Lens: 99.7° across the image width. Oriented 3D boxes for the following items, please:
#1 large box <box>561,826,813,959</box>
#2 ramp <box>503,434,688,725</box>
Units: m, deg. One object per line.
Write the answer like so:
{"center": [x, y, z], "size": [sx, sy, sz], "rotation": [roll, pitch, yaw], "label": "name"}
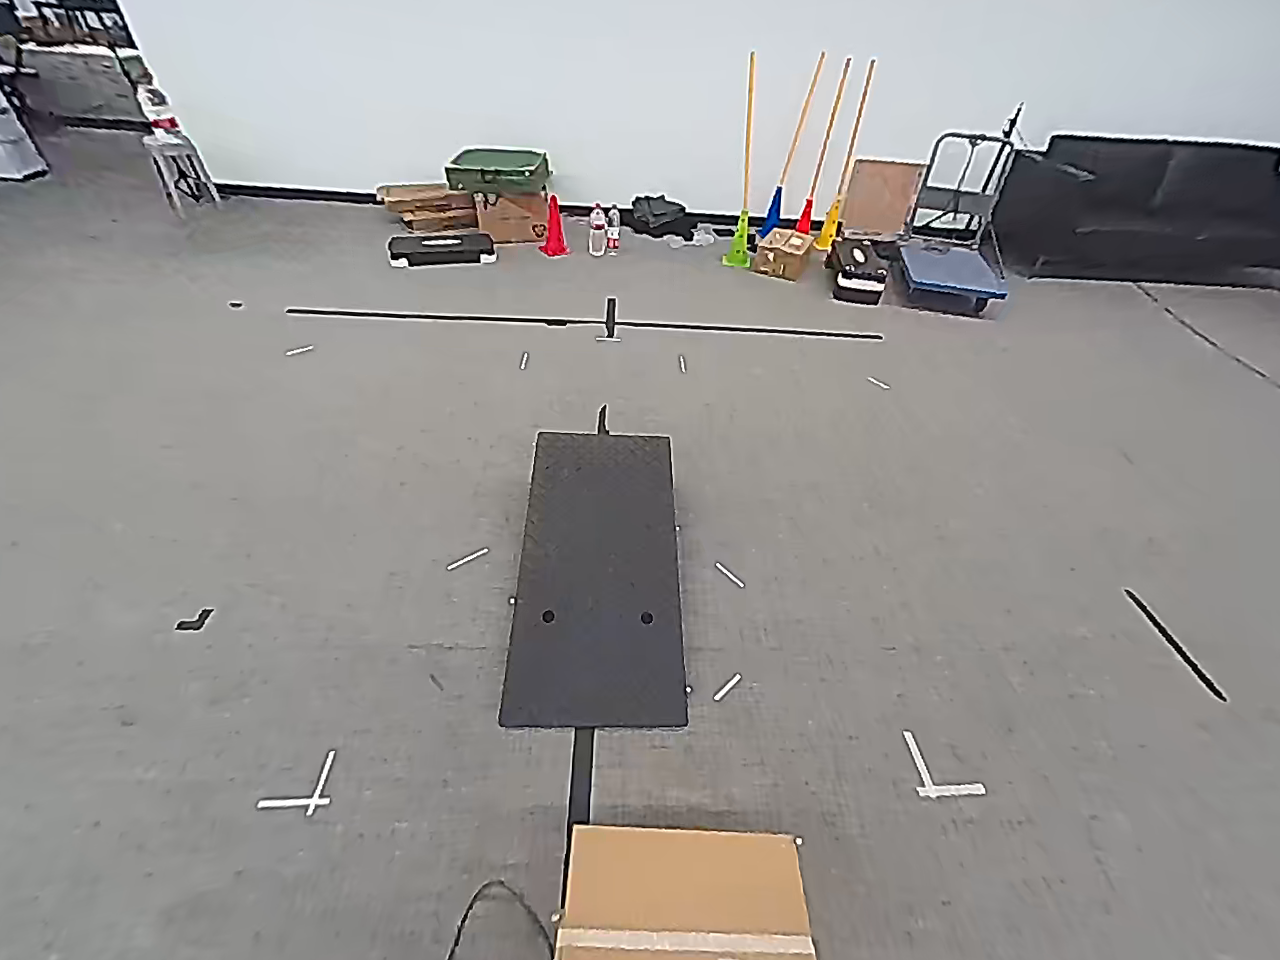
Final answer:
{"center": [0.063, 0.847, 0.957], "size": [0.408, 0.320, 0.320], "rotation": [5, 42, -2], "label": "large box"}
{"center": [-0.115, 0.239, 1.705], "size": [0.509, 0.206, 0.991], "rotation": [2, 42, -5], "label": "ramp"}
